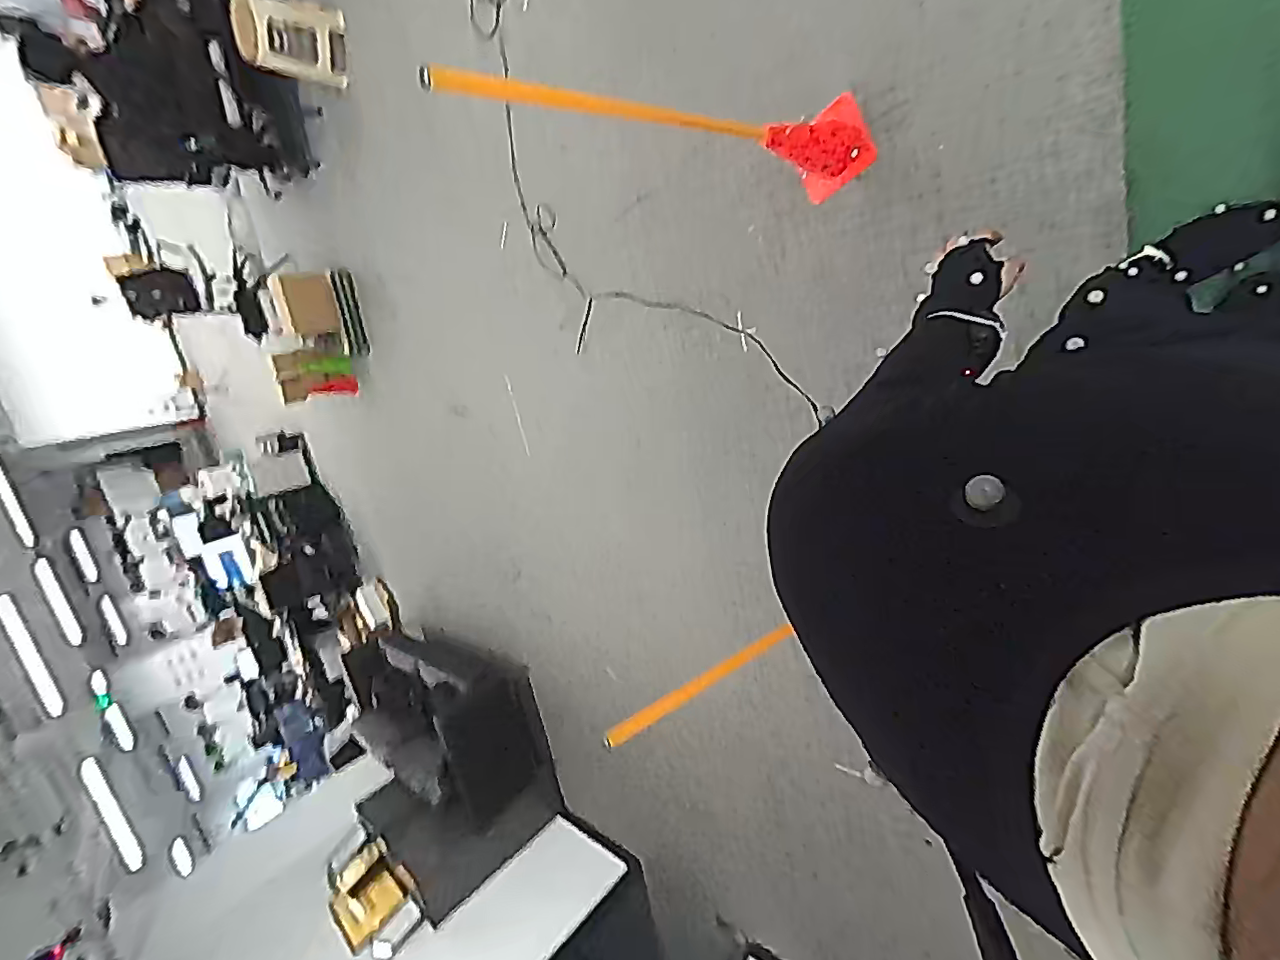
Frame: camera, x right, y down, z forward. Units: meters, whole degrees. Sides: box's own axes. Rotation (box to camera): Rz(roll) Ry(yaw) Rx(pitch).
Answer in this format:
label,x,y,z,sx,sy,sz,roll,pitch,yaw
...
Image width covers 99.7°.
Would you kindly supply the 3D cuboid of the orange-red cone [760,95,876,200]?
label,x,y,z,sx,sy,sz,roll,pitch,yaw
orange-red cone,0.414,-0.864,1.378,0.198,0.360,0.199,-22,90,48
